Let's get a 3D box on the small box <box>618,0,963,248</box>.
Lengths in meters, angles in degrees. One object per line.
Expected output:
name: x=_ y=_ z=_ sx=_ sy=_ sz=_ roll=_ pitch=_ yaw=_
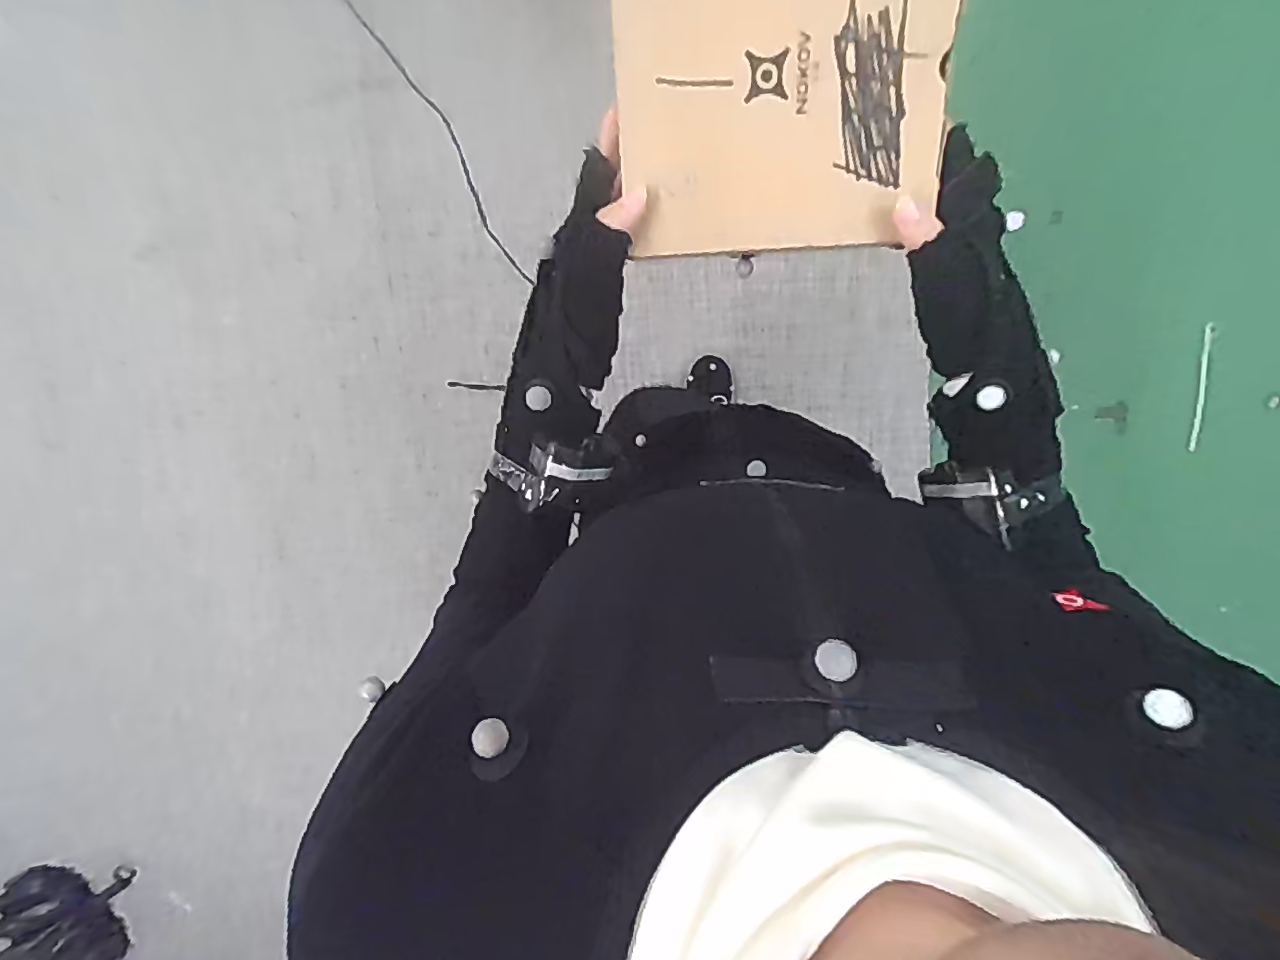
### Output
small box: x=0.079 y=-0.251 z=0.355 sx=0.179 sy=0.176 sz=0.168 roll=-6 pitch=112 yaw=3
